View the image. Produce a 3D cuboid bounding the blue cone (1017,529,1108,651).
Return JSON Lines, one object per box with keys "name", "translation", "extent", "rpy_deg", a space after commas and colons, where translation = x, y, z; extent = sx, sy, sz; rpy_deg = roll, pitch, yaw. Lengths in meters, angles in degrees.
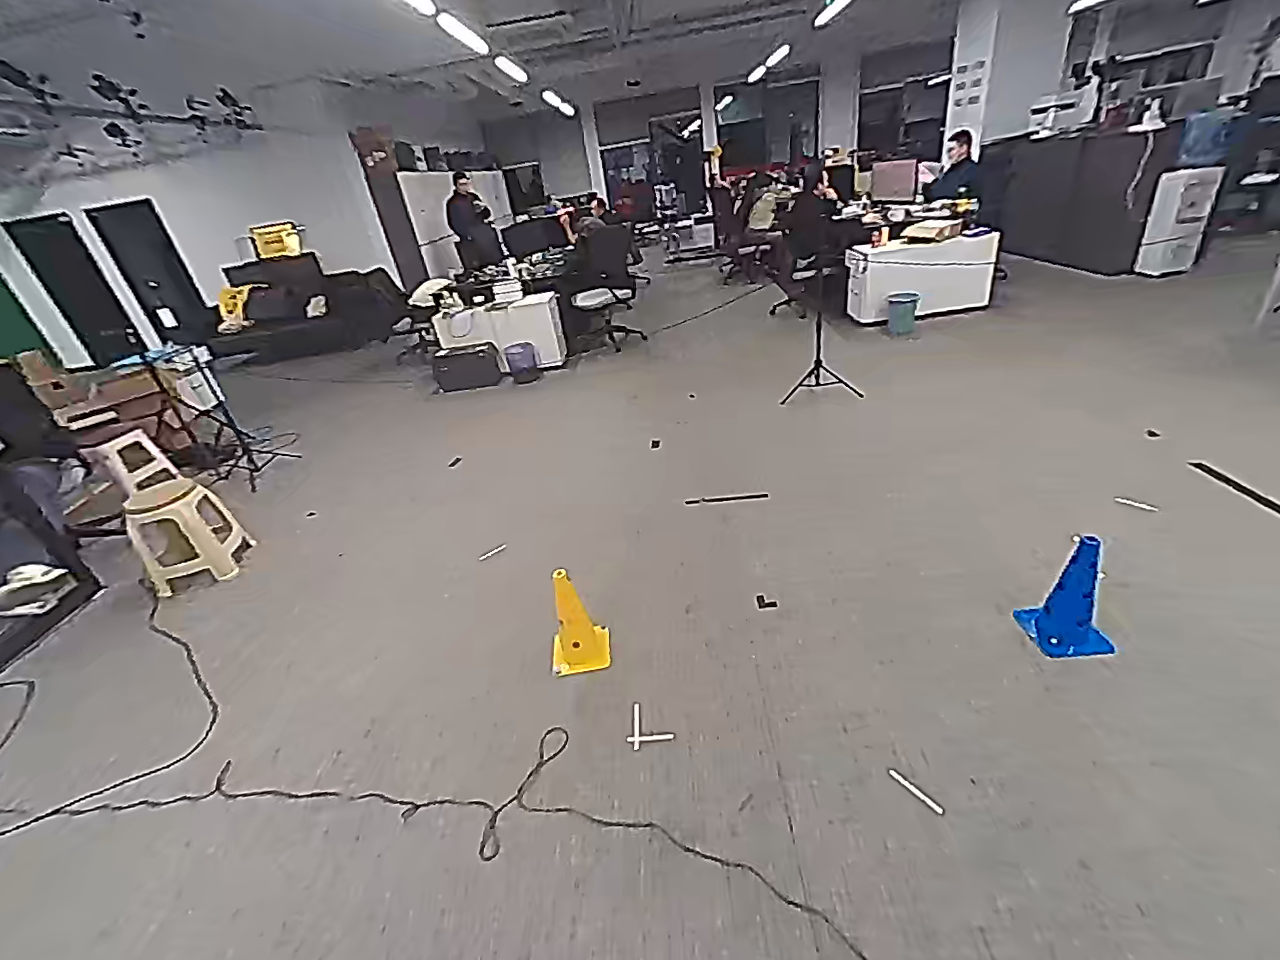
{"name": "blue cone", "translation": [1.287, 0.316, 1.603], "extent": [0.193, 0.380, 0.192], "rpy_deg": [-6, 28, 6]}
